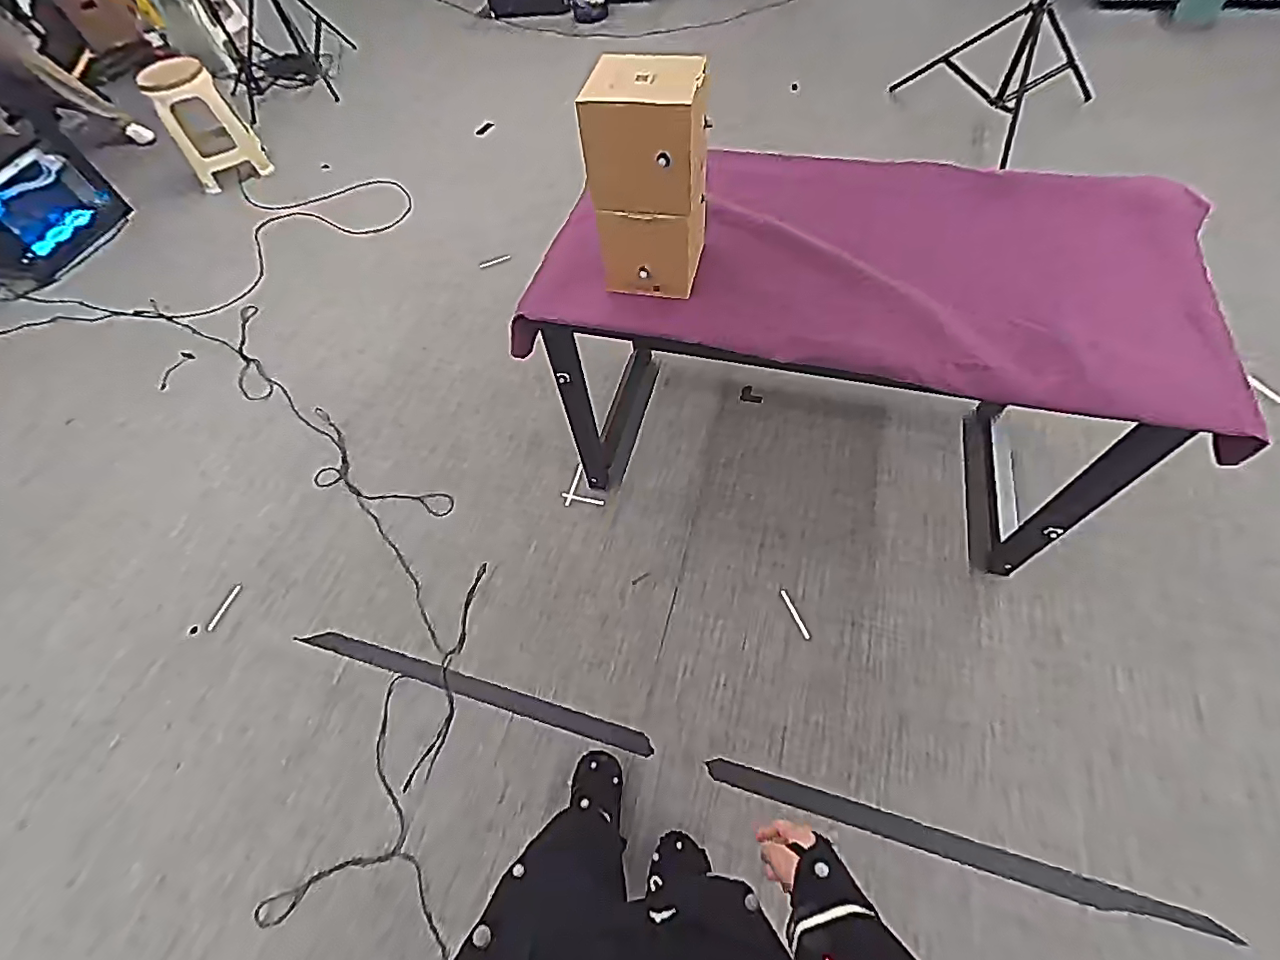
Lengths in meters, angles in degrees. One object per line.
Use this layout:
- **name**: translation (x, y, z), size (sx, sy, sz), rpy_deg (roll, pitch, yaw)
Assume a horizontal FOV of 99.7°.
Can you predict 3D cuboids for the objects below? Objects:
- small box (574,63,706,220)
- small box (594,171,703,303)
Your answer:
- **small box**: translation (0.009, -0.553, 0.892), size (0.179, 0.176, 0.168), rpy_deg (8, 57, 11)
- **small box**: translation (0.023, -0.466, 1.029), size (0.168, 0.176, 0.179), rpy_deg (9, 59, 11)
